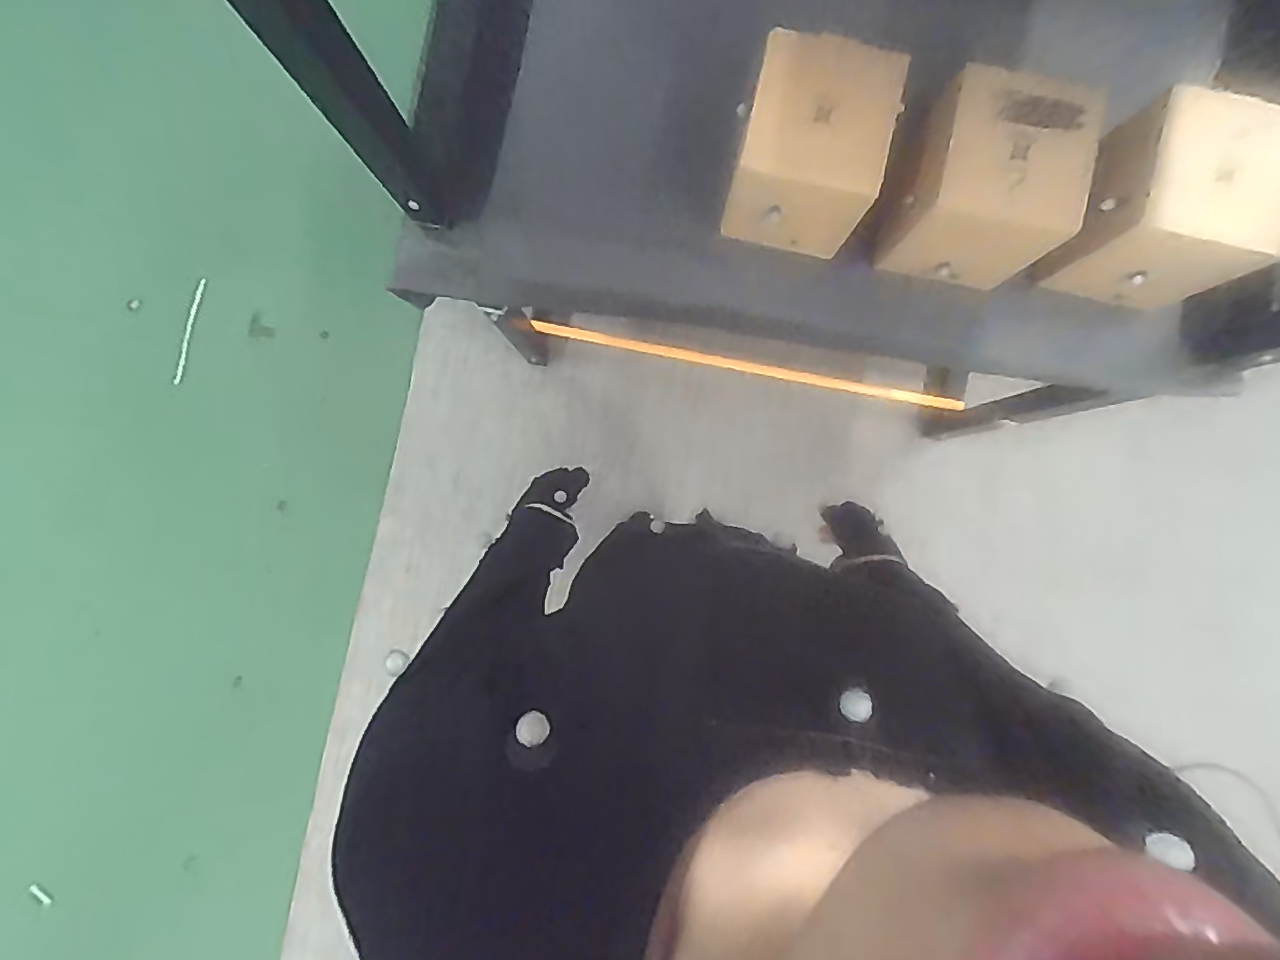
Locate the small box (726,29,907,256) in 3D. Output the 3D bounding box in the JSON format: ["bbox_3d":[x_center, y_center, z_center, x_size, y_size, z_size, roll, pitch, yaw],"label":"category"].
[{"bbox_3d":[0.214,-0.421,0.705,0.168,0.176,0.179,13,87,2],"label":"small box"}]

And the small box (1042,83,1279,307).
[{"bbox_3d":[0.660,-0.344,0.687,0.168,0.176,0.179,15,87,2],"label":"small box"}]
